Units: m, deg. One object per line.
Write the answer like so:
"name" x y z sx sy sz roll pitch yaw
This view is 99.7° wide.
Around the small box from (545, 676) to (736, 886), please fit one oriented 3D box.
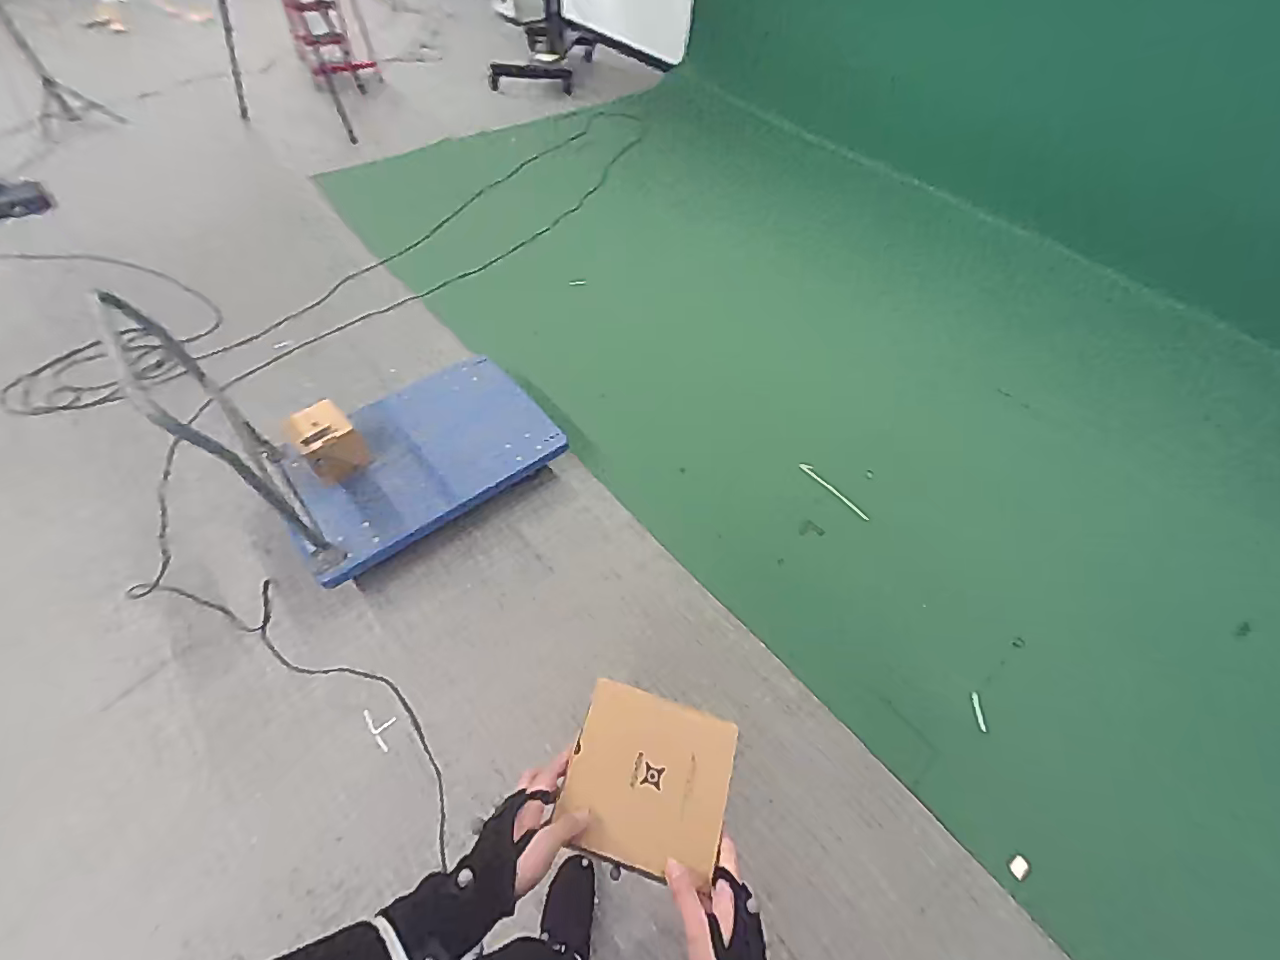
"small box" -0.002 0.364 0.651 0.179 0.176 0.168 17 53 4
